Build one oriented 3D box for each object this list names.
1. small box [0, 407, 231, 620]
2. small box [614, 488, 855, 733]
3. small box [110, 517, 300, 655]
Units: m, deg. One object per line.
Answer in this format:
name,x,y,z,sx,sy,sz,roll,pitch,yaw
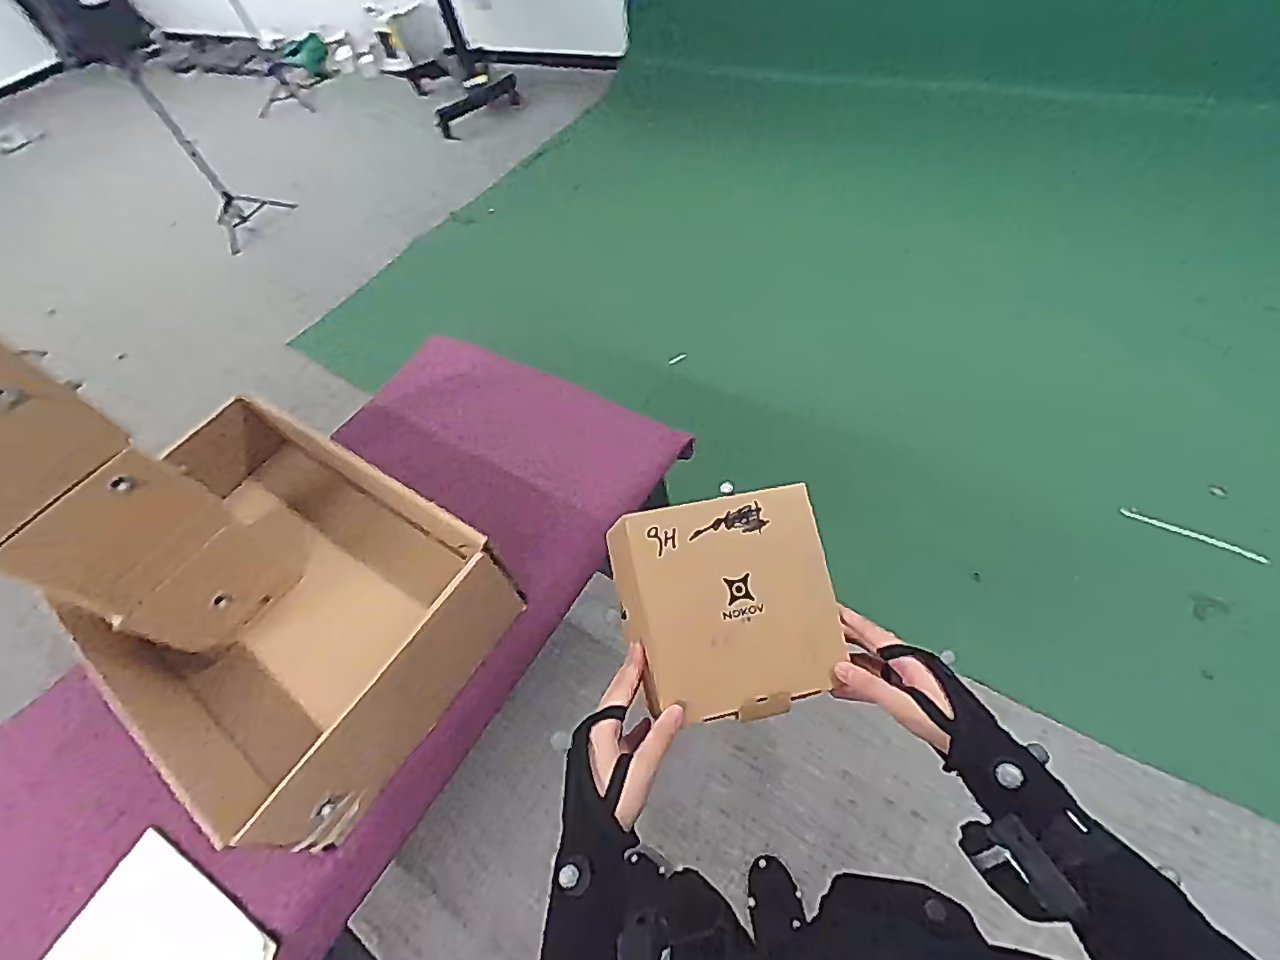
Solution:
small box,-0.677,0.047,0.674,0.168,0.176,0.179,24,63,23
small box,0.074,0.115,0.523,0.168,0.176,0.179,-9,81,-10
small box,-0.660,0.140,0.806,0.179,0.176,0.168,26,64,24
